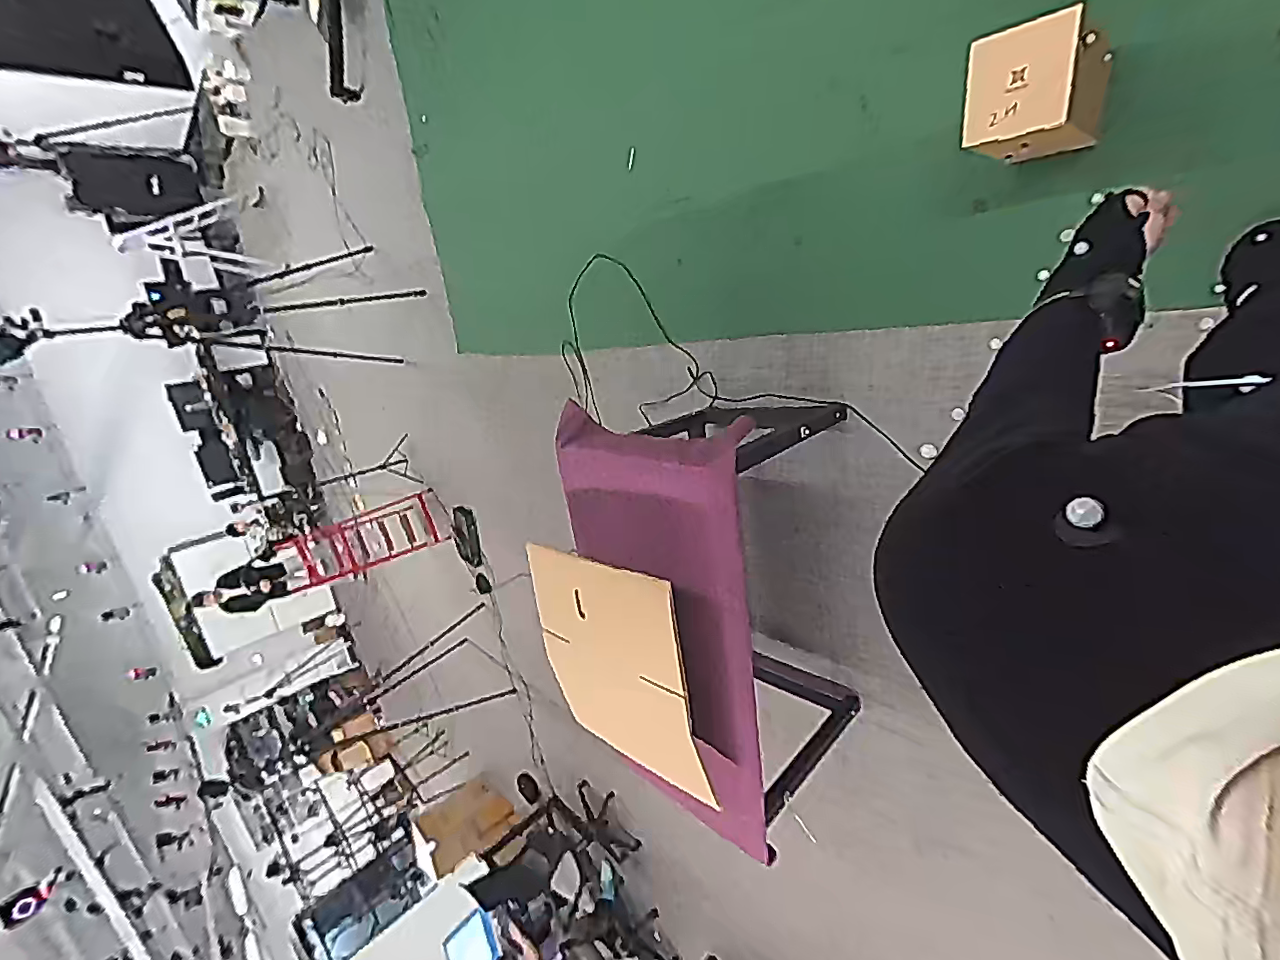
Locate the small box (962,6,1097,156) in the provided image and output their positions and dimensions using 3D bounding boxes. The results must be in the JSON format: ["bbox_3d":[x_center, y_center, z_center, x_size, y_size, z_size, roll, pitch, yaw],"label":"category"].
[{"bbox_3d":[0.733,-0.733,1.018,0.168,0.176,0.179,15,117,45],"label":"small box"}]
